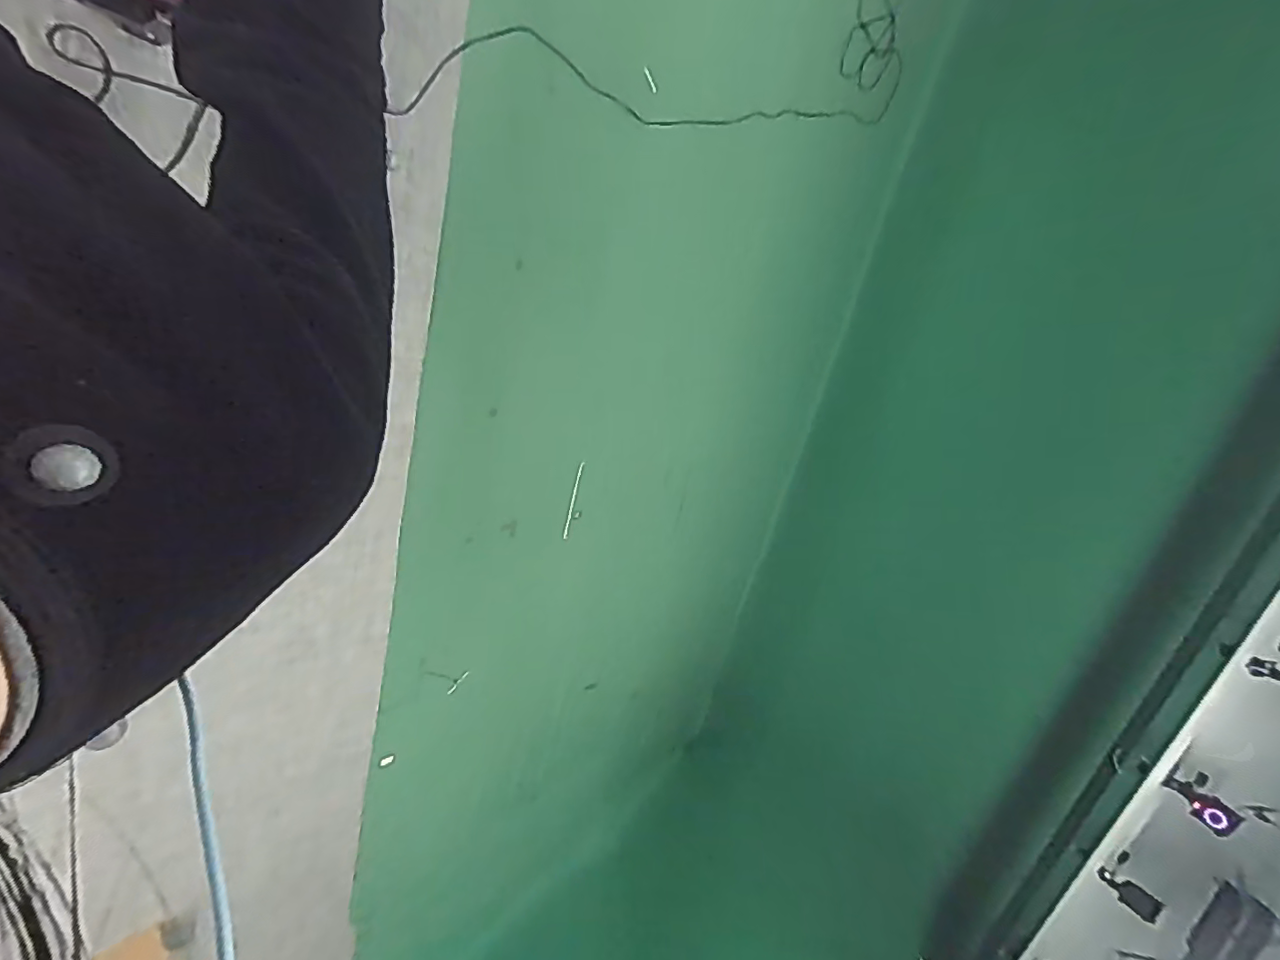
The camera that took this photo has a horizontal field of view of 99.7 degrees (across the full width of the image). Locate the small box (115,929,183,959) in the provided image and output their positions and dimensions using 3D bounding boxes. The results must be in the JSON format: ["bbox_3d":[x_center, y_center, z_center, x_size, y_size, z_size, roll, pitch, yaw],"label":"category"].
[{"bbox_3d":[-1.469,1.502,1.593,0.179,0.176,0.168,-10,119,-51],"label":"small box"}]
